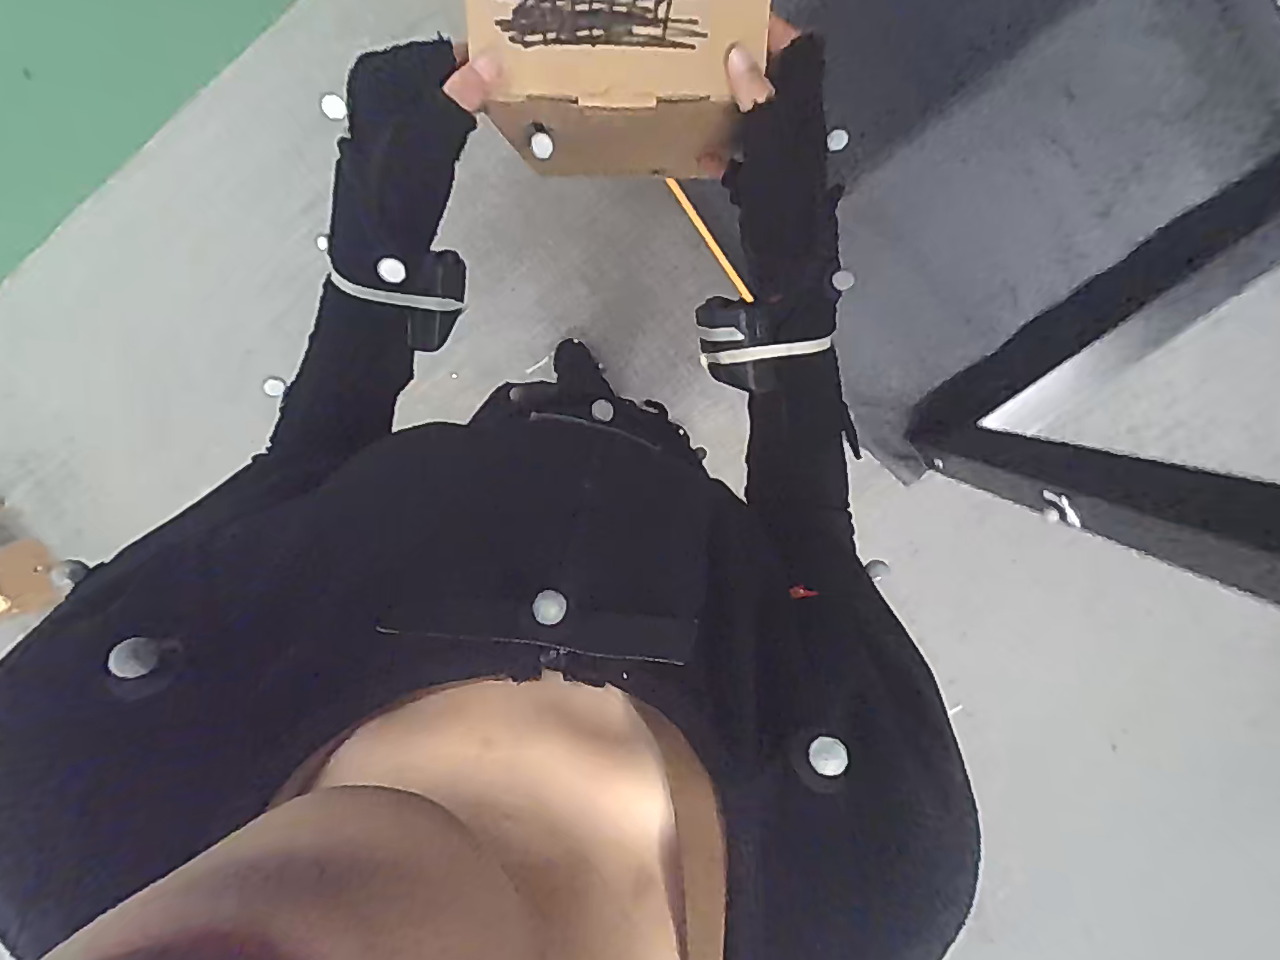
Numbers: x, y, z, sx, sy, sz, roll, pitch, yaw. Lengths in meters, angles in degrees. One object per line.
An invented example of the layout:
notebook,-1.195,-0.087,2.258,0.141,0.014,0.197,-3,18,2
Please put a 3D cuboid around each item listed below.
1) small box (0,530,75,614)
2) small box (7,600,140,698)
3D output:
small box,-1.788,0.270,1.531,0.179,0.176,0.168,-33,99,8
small box,-1.632,0.484,1.570,0.179,0.176,0.168,-35,100,8
